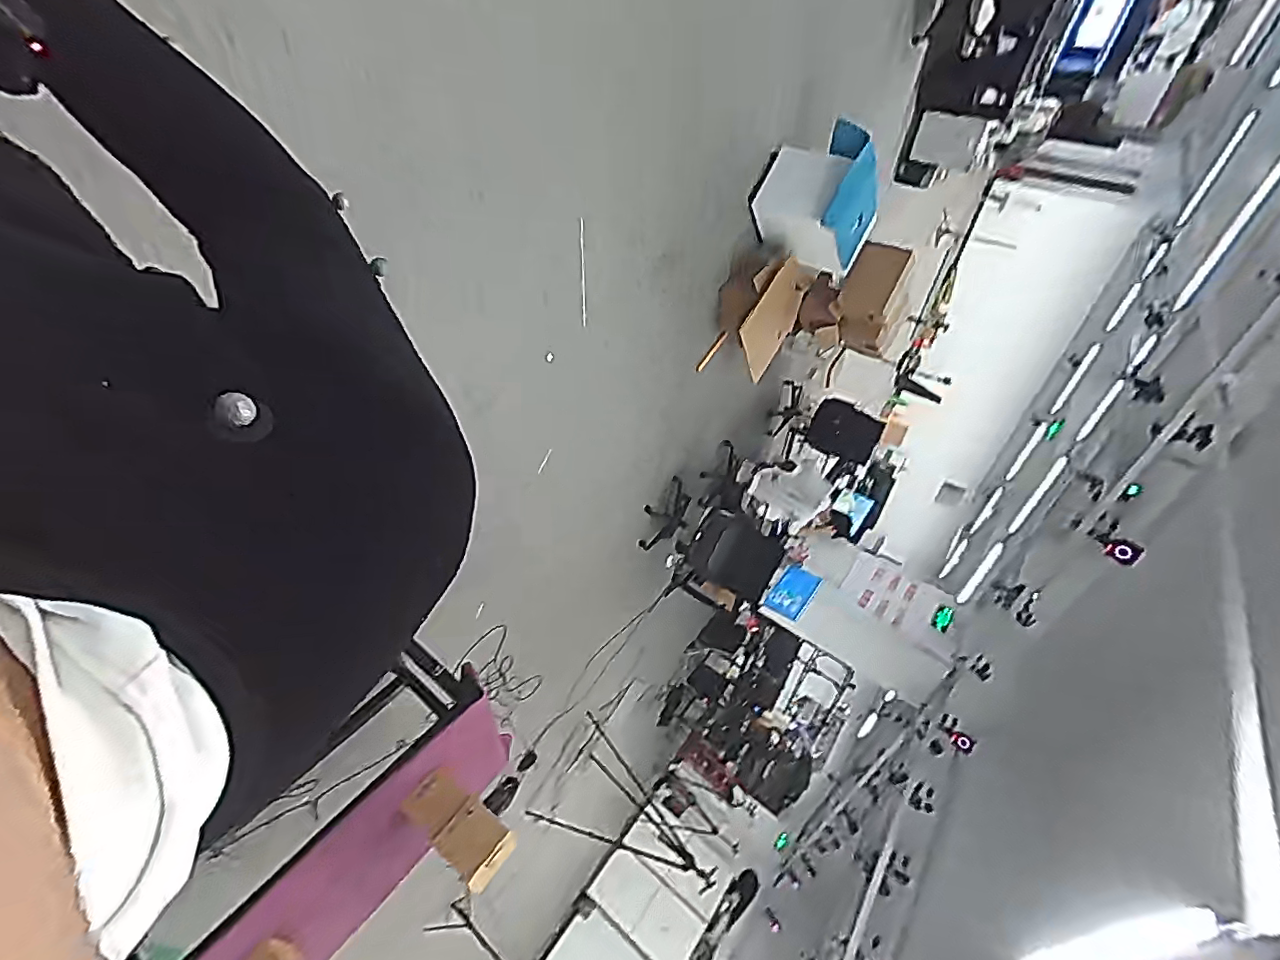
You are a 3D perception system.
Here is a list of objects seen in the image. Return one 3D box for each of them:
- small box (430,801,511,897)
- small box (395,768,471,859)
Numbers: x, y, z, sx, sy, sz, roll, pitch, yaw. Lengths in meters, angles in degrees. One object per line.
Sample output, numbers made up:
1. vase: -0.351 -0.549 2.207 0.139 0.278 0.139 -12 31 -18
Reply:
1. small box: -0.528 1.141 1.682 0.168 0.176 0.179 -41 150 -38
2. small box: -0.660 1.077 1.755 0.168 0.176 0.179 -41 148 -37
